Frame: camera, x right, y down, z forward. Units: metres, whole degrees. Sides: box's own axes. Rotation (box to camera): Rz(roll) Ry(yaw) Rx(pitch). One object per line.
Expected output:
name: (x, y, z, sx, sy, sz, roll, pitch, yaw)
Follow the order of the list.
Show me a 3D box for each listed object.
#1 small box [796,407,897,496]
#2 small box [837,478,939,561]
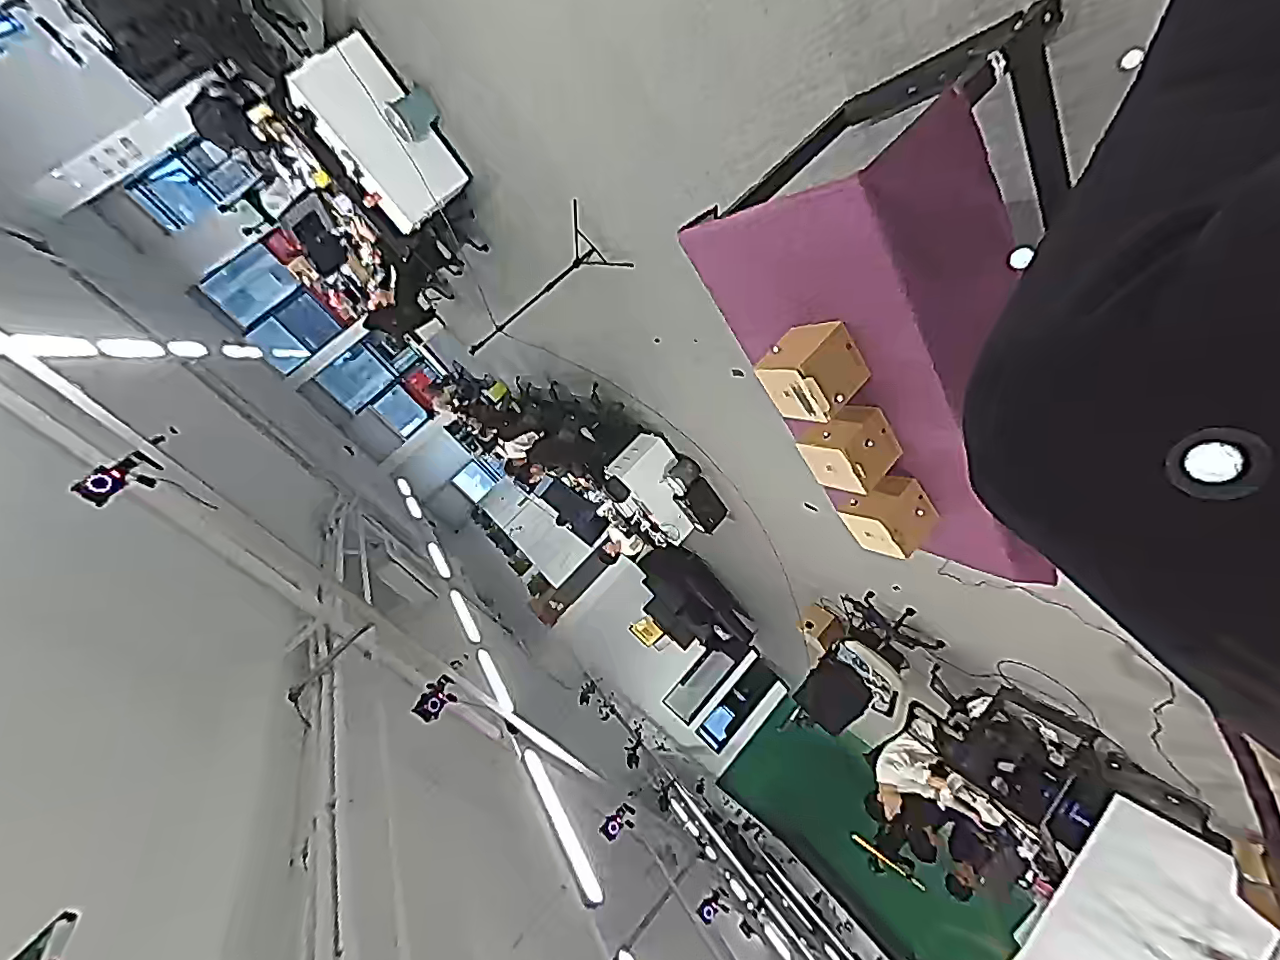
small box: (0.569, -0.083, 1.472, 0.168, 0.176, 0.179, 51, 166, -25)
small box: (0.726, 0.107, 1.582, 0.168, 0.176, 0.179, 48, 167, -19)
